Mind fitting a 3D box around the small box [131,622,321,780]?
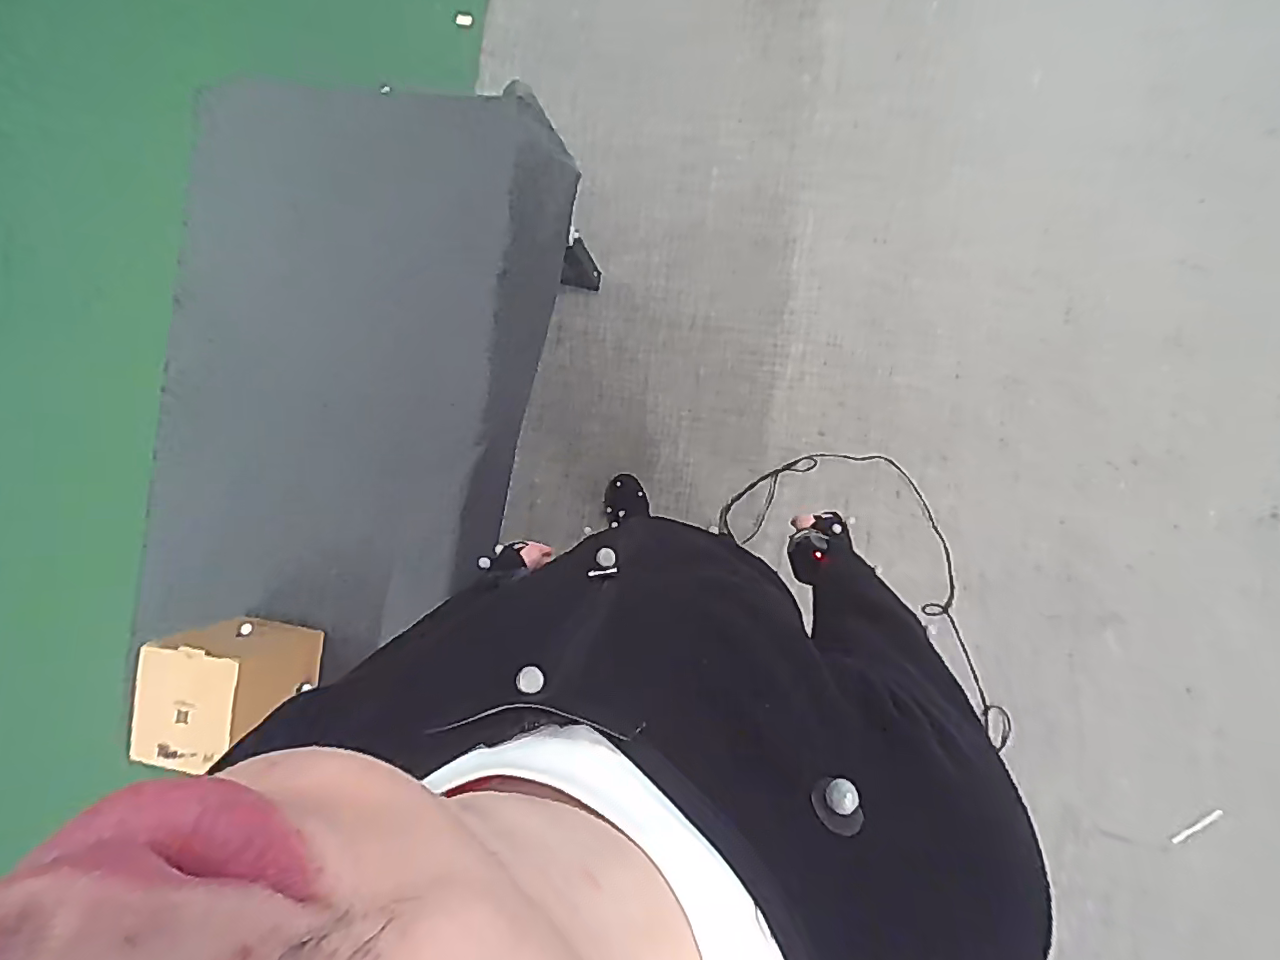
[{"bbox_3d":[-0.646,0.338,0.865,0.168,0.176,0.179,7,89,8],"label":"small box"}]
